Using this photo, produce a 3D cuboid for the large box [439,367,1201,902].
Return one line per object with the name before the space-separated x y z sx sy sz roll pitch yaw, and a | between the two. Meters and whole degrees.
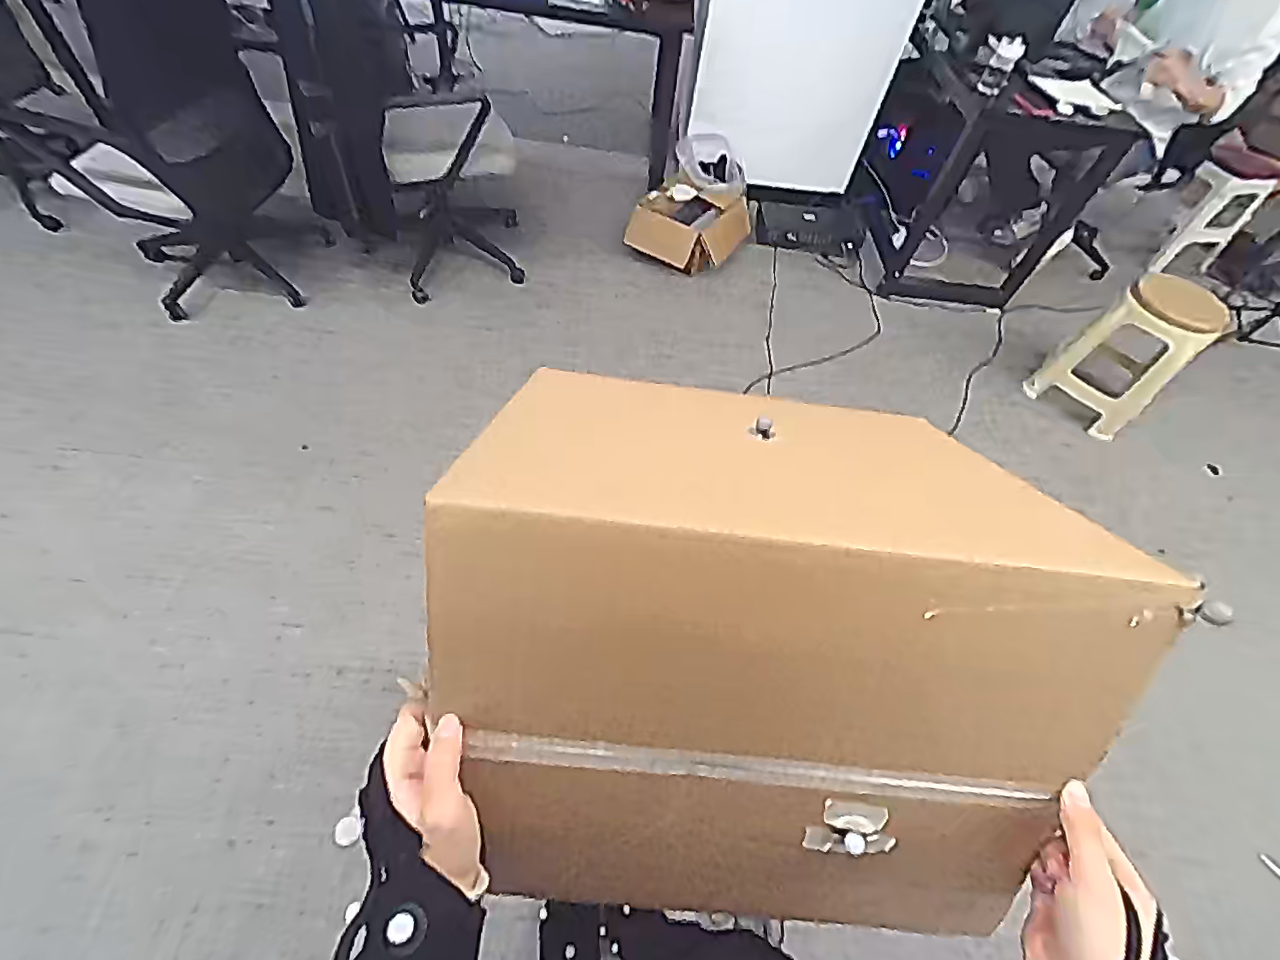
large box | 0.081 0.096 0.467 0.408 0.320 0.320 6 24 -3
